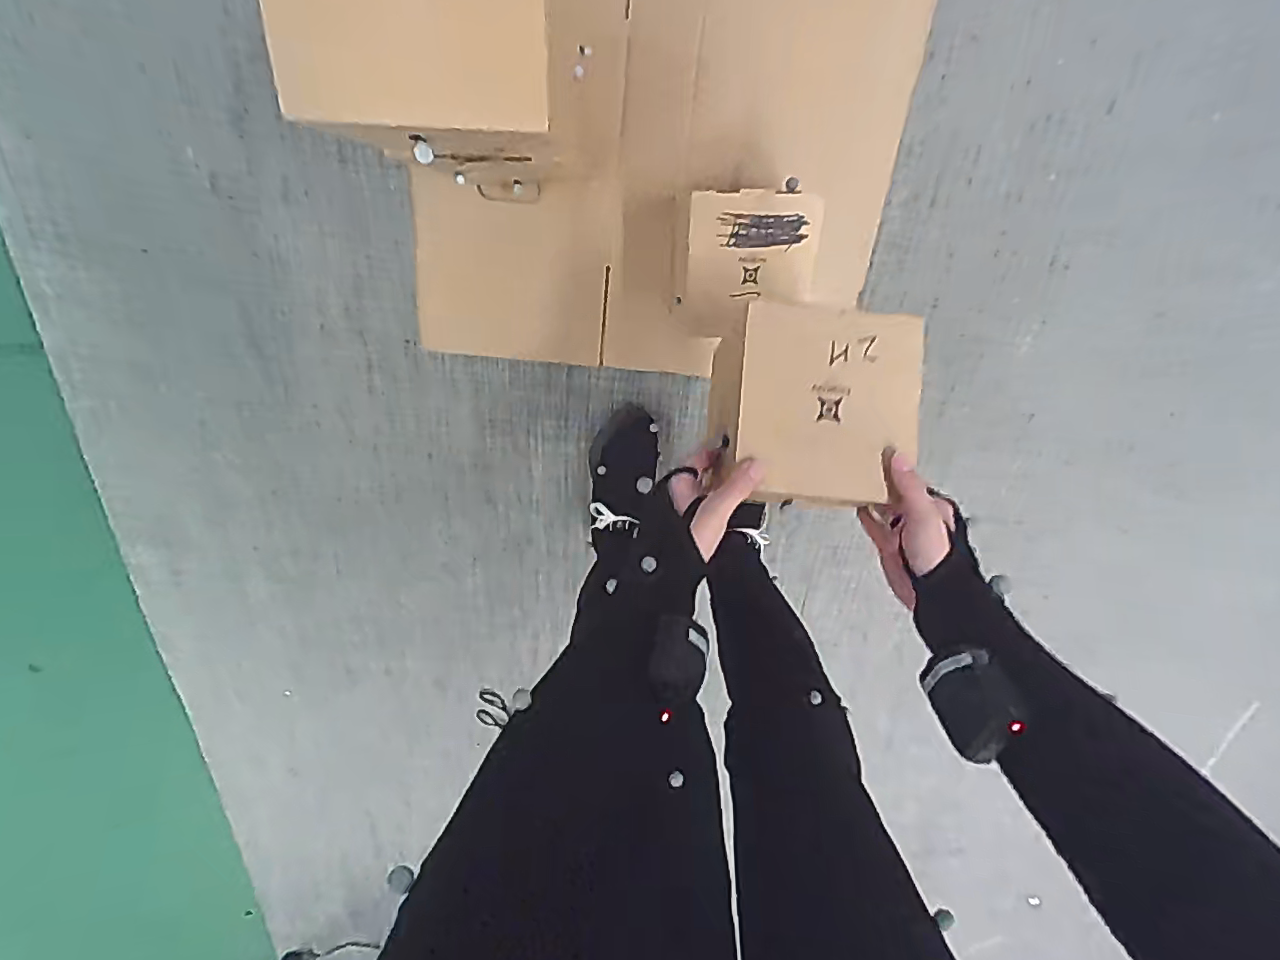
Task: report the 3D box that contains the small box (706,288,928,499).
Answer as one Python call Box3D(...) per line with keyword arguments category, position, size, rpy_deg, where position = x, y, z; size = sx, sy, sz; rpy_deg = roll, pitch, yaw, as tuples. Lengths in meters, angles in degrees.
Box3D(category="small box", position=(0.165, -0.073, 0.556), size=(0.168, 0.176, 0.179), rpy_deg=(5, 86, -2))

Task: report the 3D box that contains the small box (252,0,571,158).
Box3D(category="small box", position=(-0.138, -0.330, 0.370), size=(0.168, 0.176, 0.179), rpy_deg=(1, 115, -2))

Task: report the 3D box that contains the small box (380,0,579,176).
Box3D(category="small box", position=(-0.148, -0.398, 0.518), size=(0.168, 0.176, 0.179), rpy_deg=(1, 114, -2))

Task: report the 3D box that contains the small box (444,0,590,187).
Box3D(category="small box", position=(-0.152, -0.467, 0.665), size=(0.168, 0.176, 0.179), rpy_deg=(-3, 116, 0))
